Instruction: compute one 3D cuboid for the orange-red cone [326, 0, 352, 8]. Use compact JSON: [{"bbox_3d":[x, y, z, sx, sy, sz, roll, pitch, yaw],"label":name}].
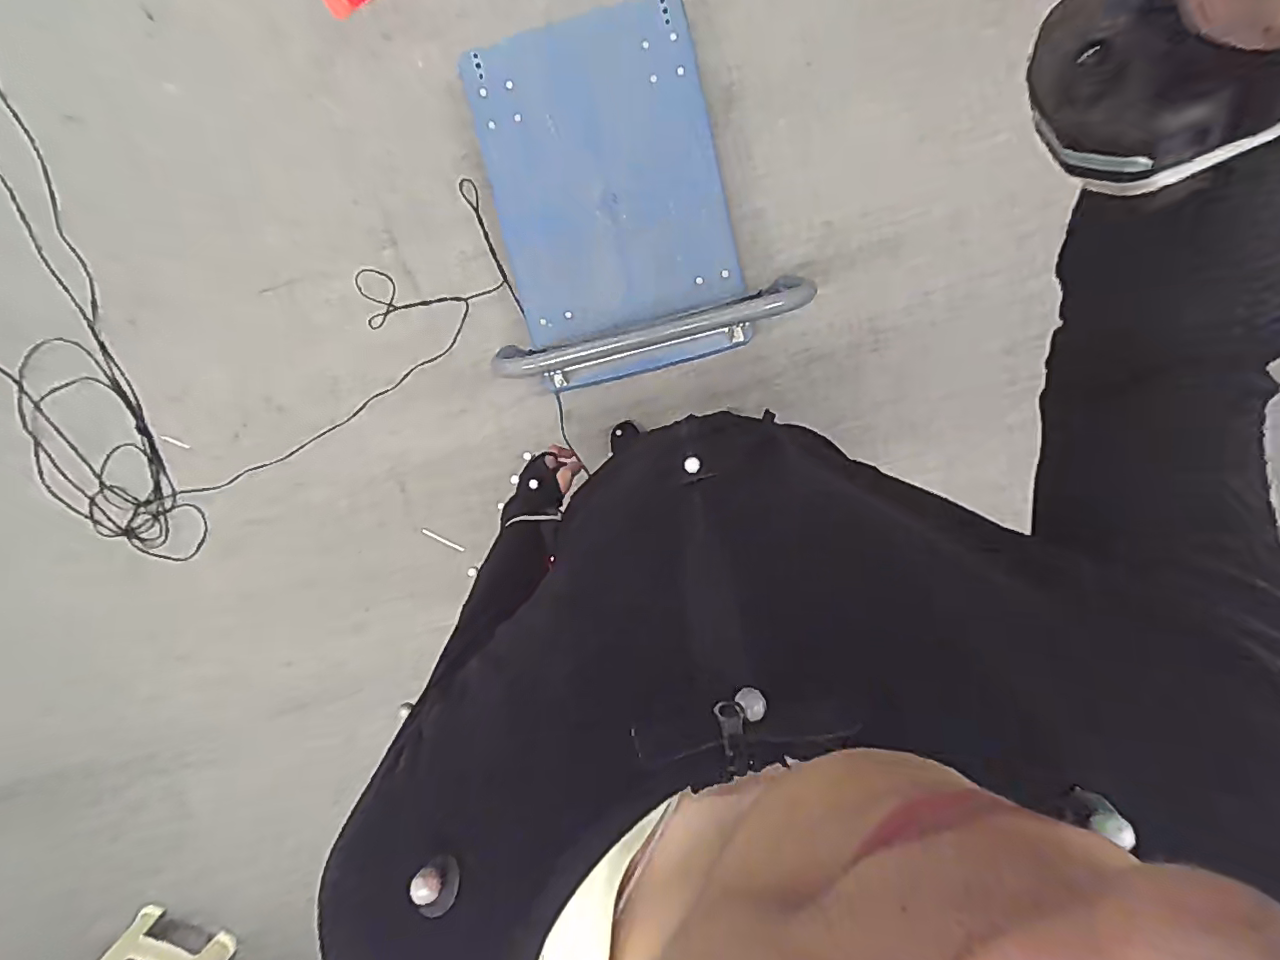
[{"bbox_3d":[-0.821,-1.398,1.305,0.199,0.360,0.198,-31,94,7],"label":"orange-red cone"}]
